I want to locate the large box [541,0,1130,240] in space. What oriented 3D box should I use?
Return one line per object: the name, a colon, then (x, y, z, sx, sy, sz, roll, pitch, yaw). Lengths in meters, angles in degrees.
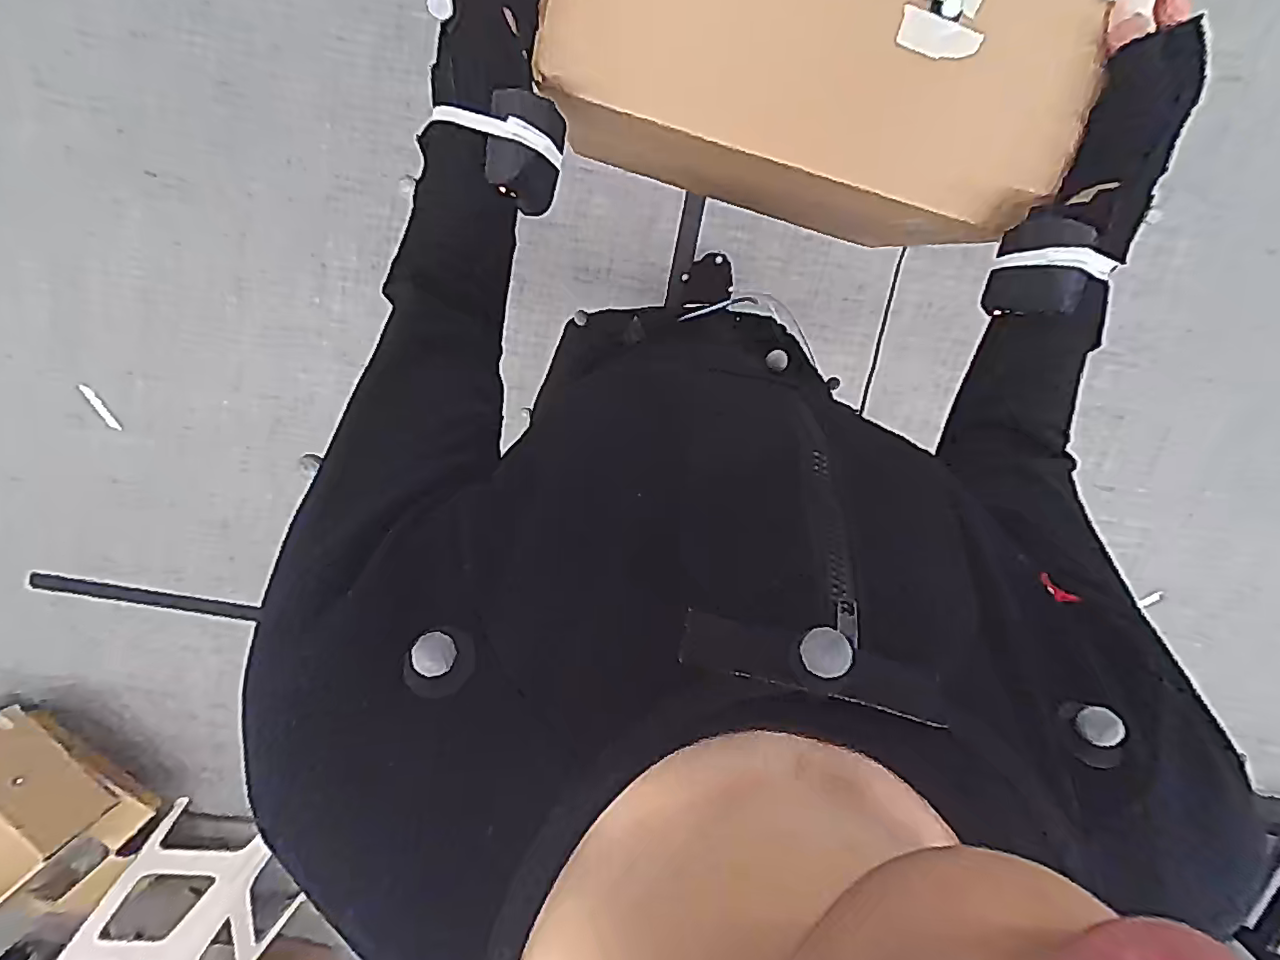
large box: (0.148, -0.436, 0.498, 0.408, 0.320, 0.320, 13, 113, -7)
